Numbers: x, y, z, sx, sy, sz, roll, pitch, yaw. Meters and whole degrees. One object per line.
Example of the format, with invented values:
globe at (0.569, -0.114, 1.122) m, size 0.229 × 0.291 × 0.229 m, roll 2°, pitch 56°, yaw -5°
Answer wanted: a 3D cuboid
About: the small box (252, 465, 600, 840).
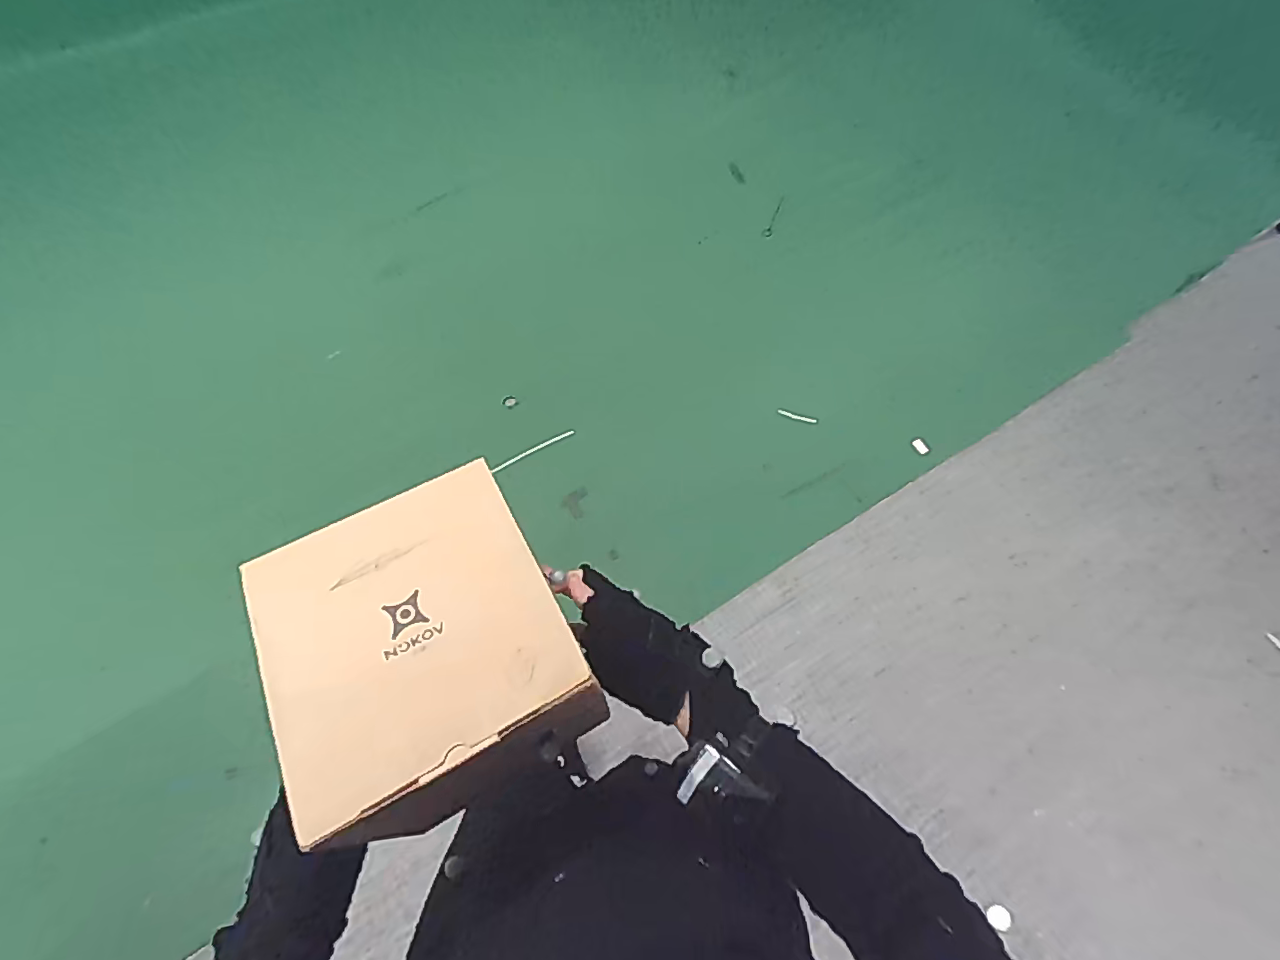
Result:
small box at (-0.139, 0.126, 0.402) m, size 0.168 × 0.176 × 0.179 m, roll -26°, pitch 63°, yaw -14°
